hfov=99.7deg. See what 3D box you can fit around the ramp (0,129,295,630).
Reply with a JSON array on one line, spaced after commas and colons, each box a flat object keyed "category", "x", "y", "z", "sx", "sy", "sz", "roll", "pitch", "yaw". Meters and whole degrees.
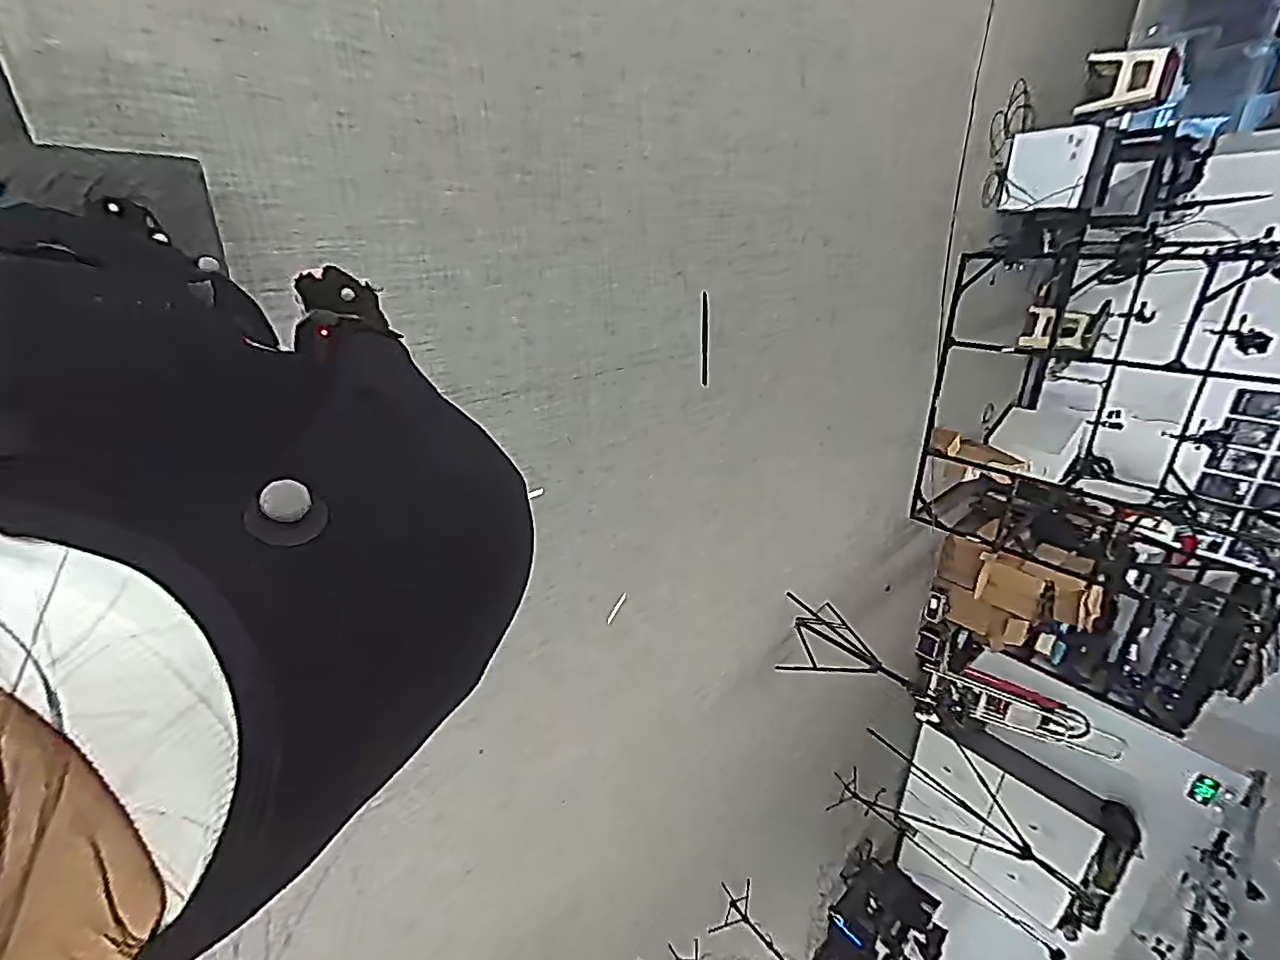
[{"category": "ramp", "x": -1.085, "y": -0.140, "z": 1.116, "sx": 0.509, "sy": 0.206, "sz": 0.991, "roll": -21, "pitch": 122, "yaw": -37}]
